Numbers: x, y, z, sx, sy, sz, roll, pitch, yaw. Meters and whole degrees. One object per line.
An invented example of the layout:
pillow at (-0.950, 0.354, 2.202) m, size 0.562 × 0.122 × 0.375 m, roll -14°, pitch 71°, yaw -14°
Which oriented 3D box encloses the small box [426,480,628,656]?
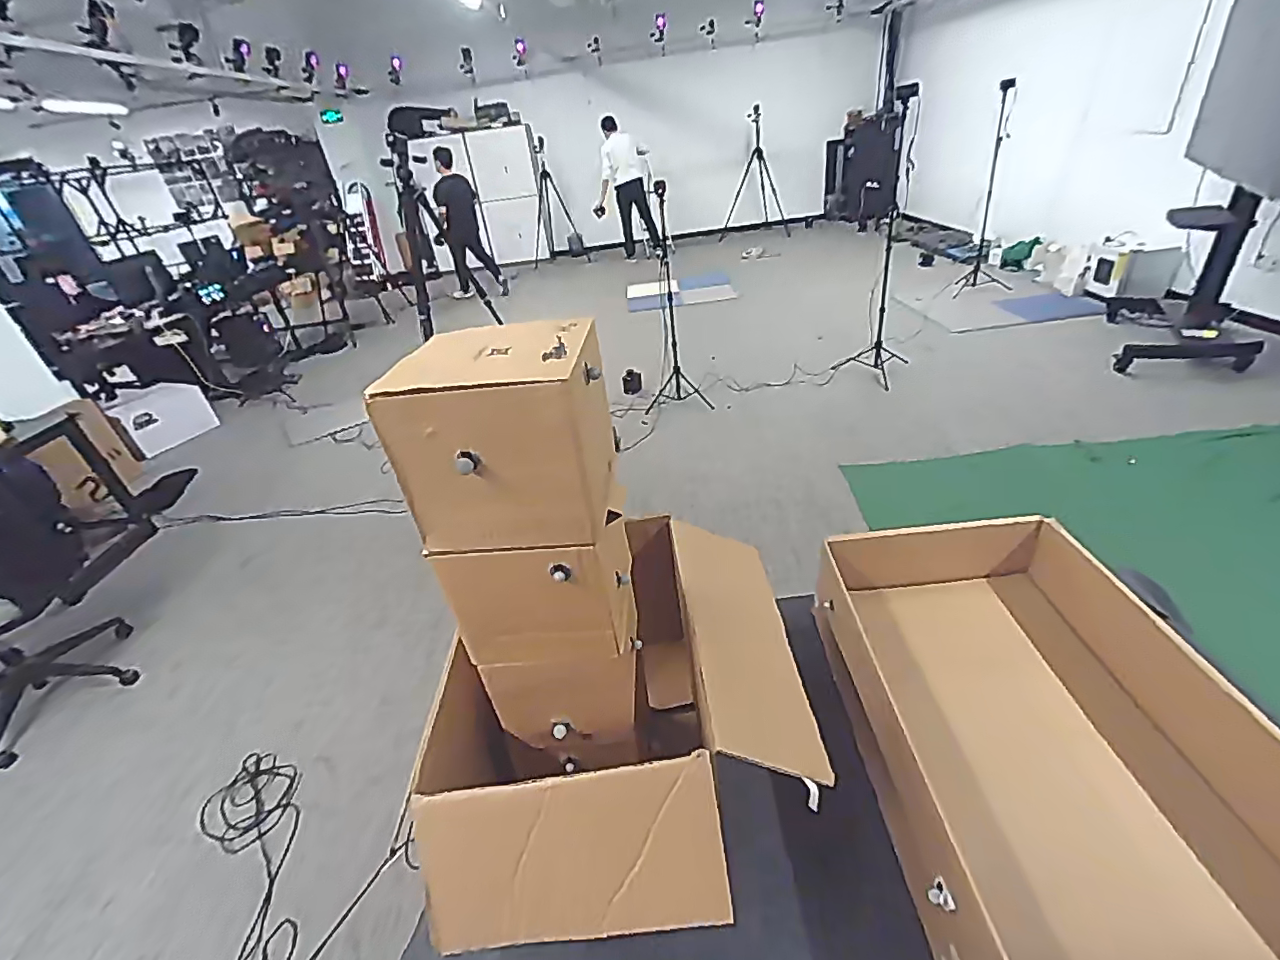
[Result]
small box at (-0.114, 0.089, 0.633) m, size 0.179 × 0.176 × 0.168 m, roll -4°, pitch 33°, yaw 5°

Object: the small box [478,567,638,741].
small box at (-0.095, 0.221, 0.724) m, size 0.168 × 0.176 × 0.179 m, roll -4°, pitch 35°, yaw 5°

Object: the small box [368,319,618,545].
small box at (-0.126, -0.048, 0.543) m, size 0.179 × 0.176 × 0.168 m, roll -4°, pitch 34°, yaw 6°
